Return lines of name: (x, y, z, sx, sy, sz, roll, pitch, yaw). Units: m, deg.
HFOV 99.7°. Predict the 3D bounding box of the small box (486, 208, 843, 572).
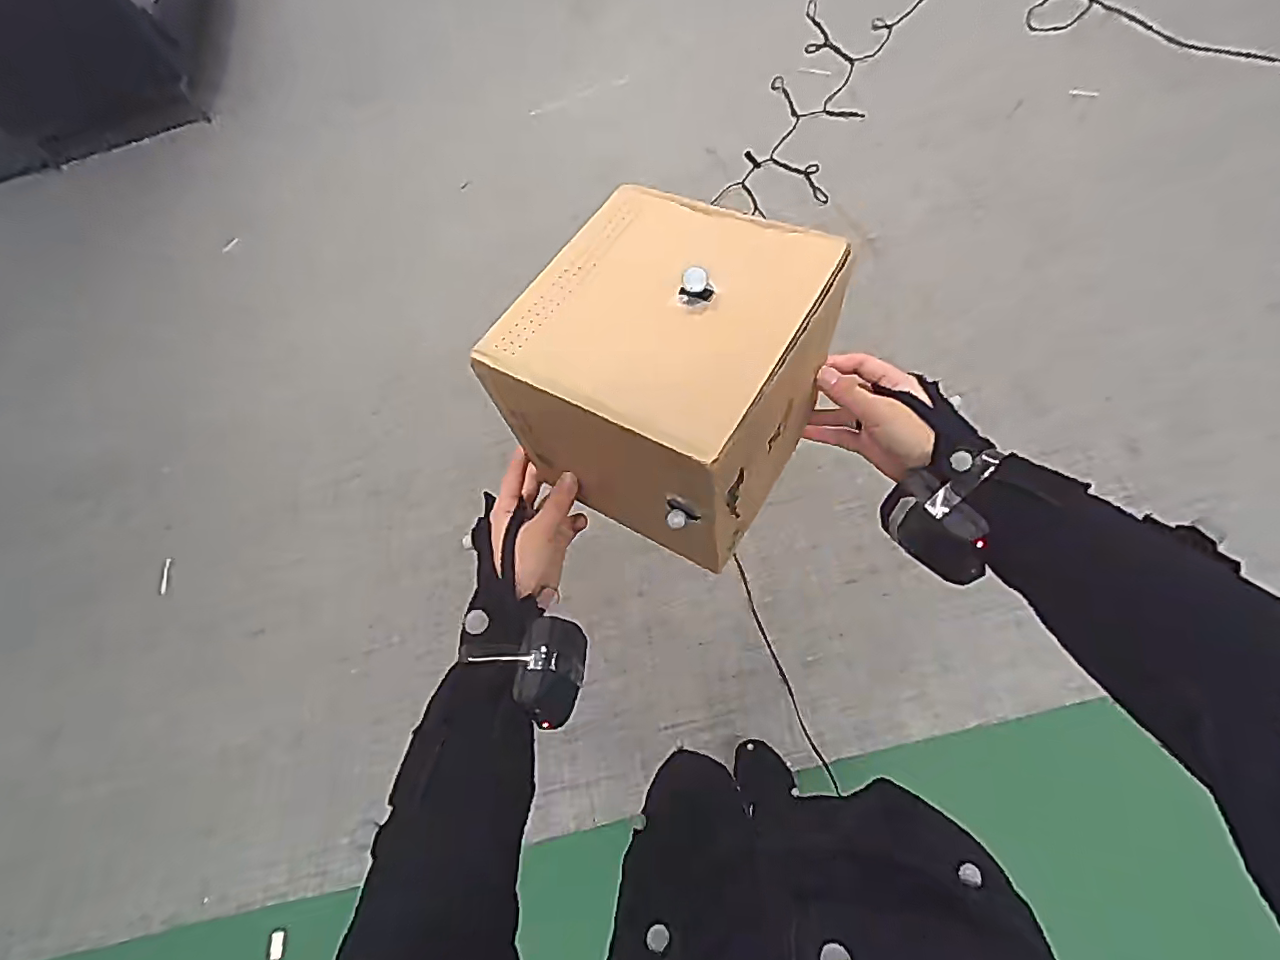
small box: (0.022, -0.068, 0.399, 0.176, 0.168, 0.179, 26, 68, 22)
